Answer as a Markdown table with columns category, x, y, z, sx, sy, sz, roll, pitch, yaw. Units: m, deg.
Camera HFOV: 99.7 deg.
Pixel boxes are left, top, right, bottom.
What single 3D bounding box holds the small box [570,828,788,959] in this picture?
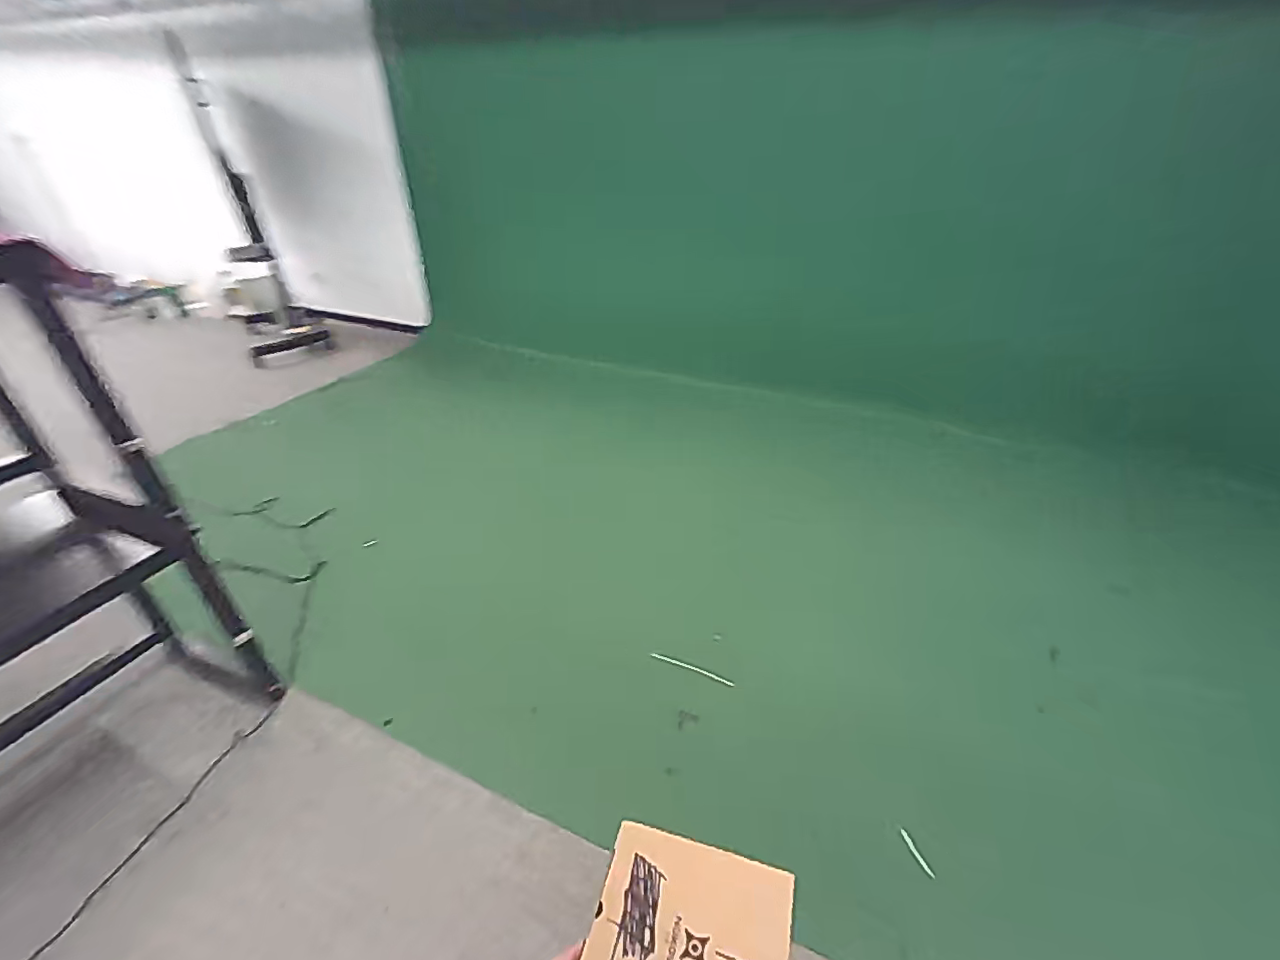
| category | x | y | z | sx | sy | sz | roll | pitch | yaw |
| --- | --- | --- | --- | --- | --- | --- | --- | --- | --- |
| small box | 0.034 | 0.475 | 0.505 | 0.179 | 0.176 | 0.168 | 8 | 32 | 15 |
